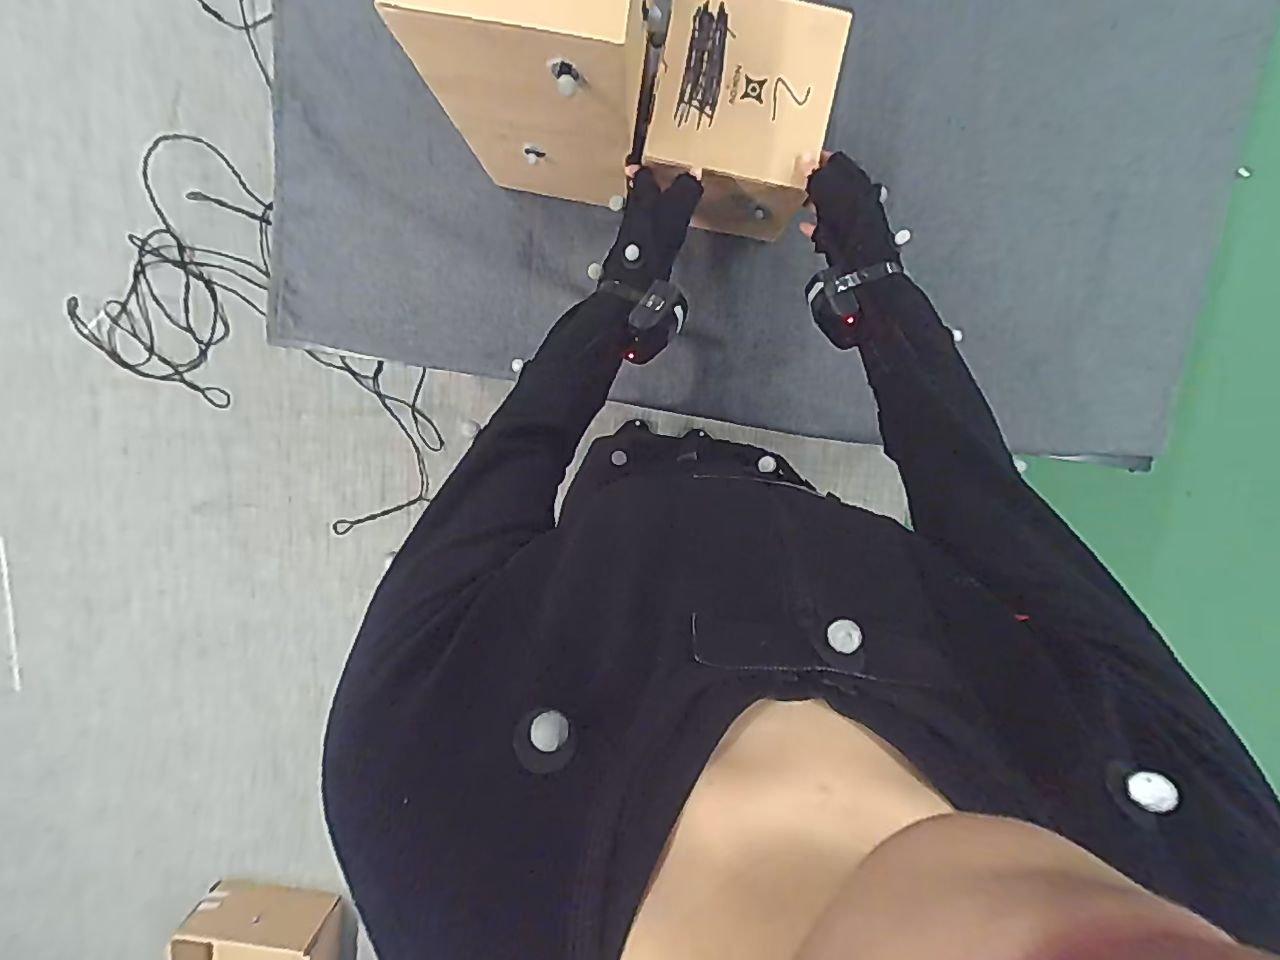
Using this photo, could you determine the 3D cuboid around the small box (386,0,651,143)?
[{"bbox_3d":[-0.081,-0.408,0.443,0.179,0.176,0.168,8,97,-1],"label":"small box"}]
